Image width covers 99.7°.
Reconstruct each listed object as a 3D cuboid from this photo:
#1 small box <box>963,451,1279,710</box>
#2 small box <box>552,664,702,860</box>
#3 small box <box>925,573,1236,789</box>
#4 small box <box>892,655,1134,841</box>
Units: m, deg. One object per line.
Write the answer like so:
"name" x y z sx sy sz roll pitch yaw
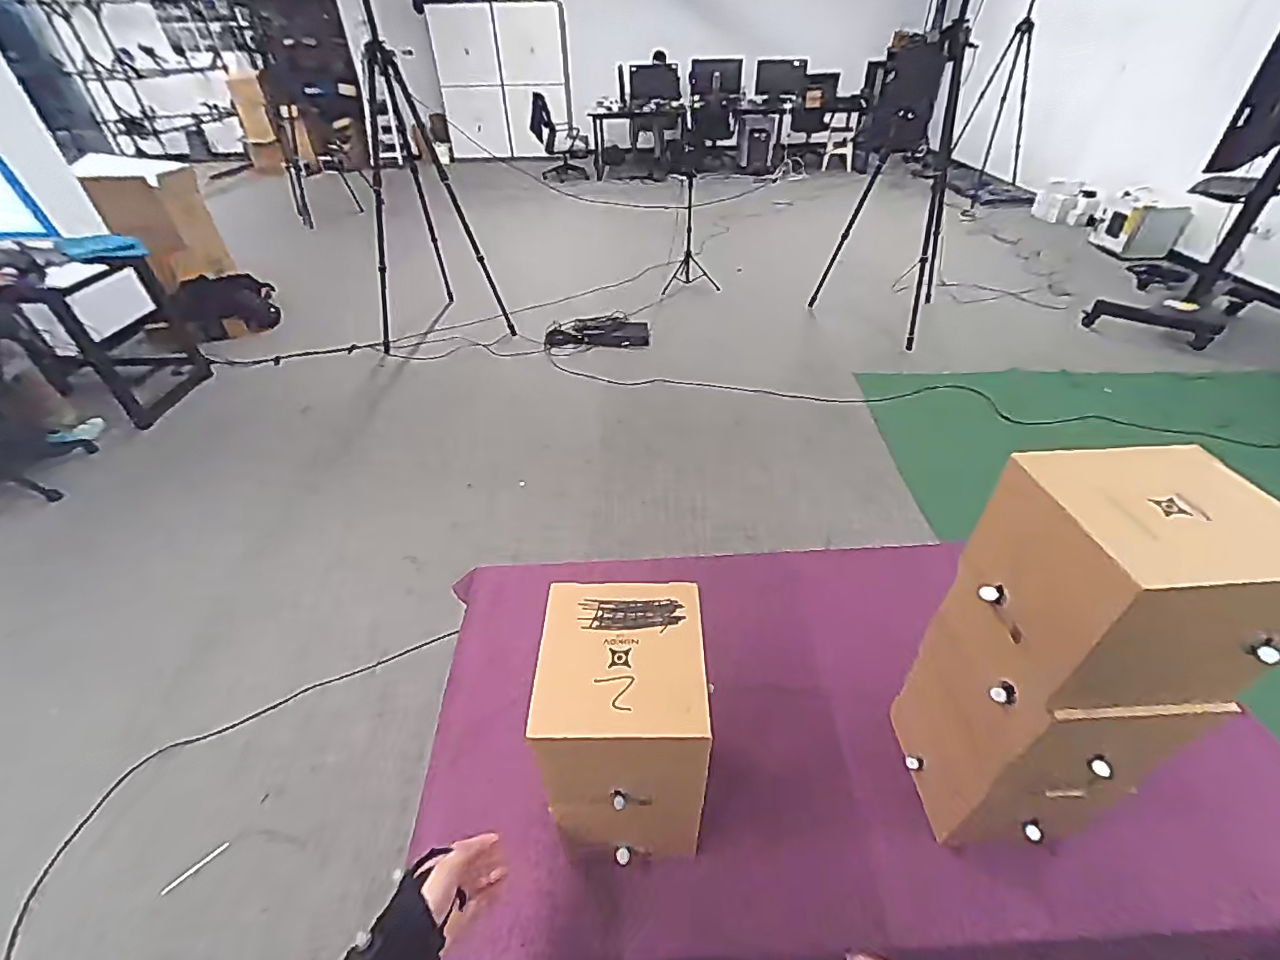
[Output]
"small box" 0.439 0.091 0.491 0.179 0.176 0.168 -2 39 0
"small box" -0.012 0.359 0.696 0.168 0.176 0.179 0 41 1
"small box" 0.447 0.219 0.591 0.168 0.176 0.179 -1 40 0
"small box" 0.454 0.346 0.697 0.168 0.176 0.179 -1 41 0
